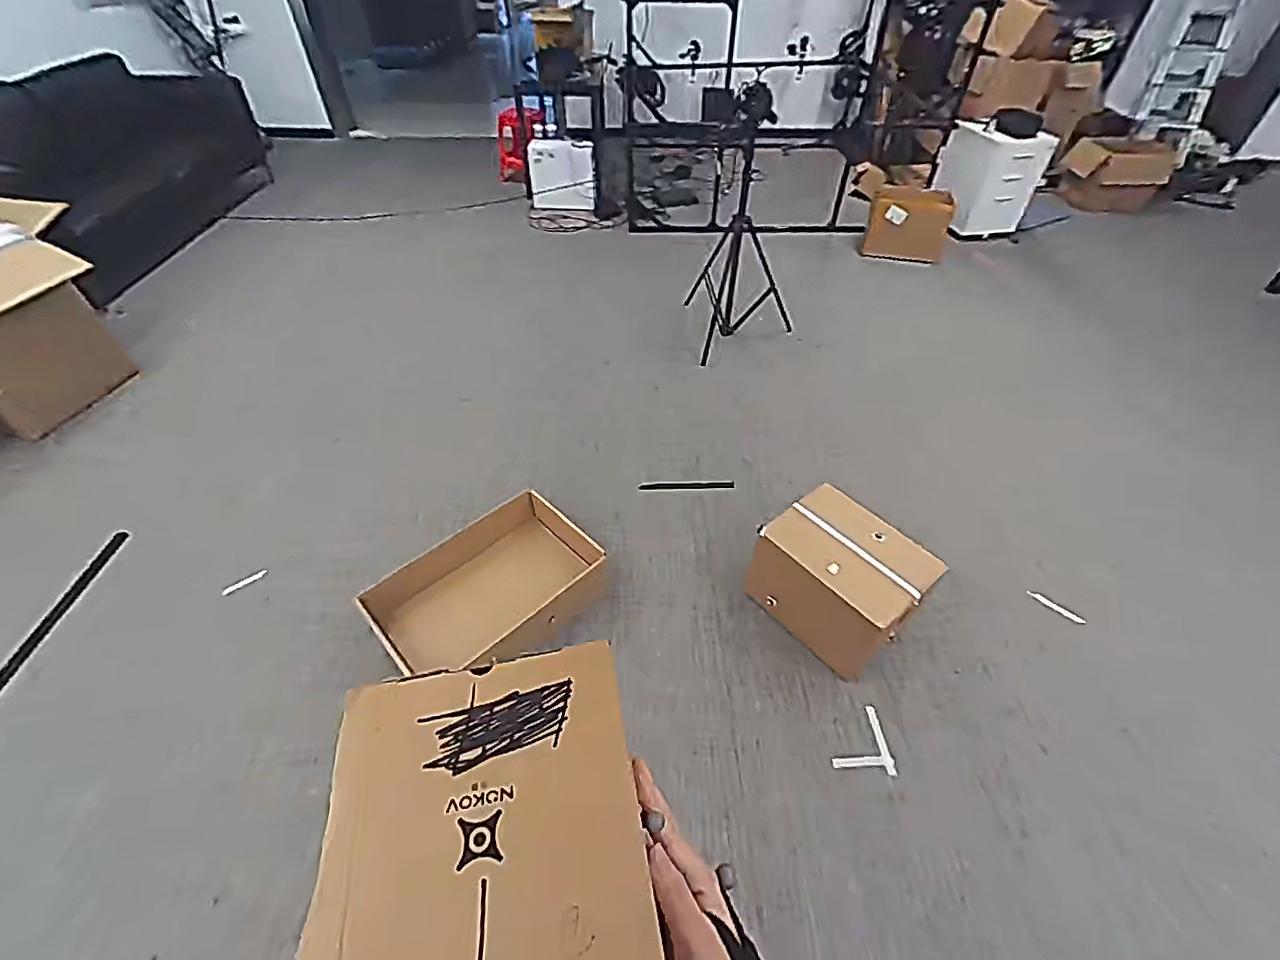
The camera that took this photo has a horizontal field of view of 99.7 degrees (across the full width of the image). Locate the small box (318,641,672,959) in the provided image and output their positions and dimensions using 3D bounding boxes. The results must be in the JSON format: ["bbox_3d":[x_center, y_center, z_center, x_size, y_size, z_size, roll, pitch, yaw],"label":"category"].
[{"bbox_3d":[-0.078,0.233,0.353,0.168,0.176,0.179,-10,51,-6],"label":"small box"}]
